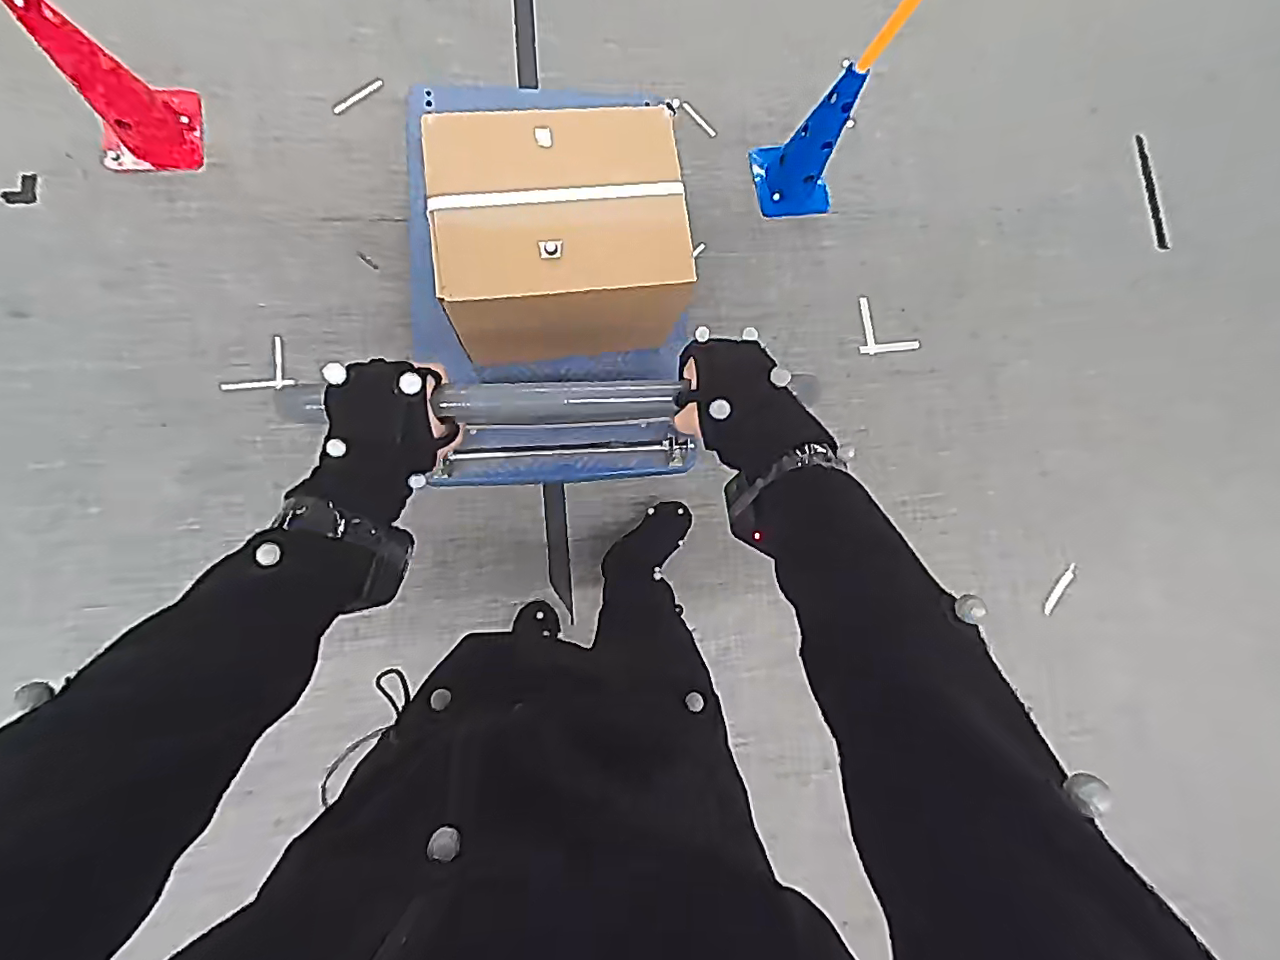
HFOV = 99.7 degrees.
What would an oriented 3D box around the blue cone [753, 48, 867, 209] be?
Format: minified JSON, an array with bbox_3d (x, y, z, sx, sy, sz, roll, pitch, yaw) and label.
[{"bbox_3d":[0.430,-0.841,1.295,0.193,0.380,0.192,-9,84,-9],"label":"blue cone"}]
